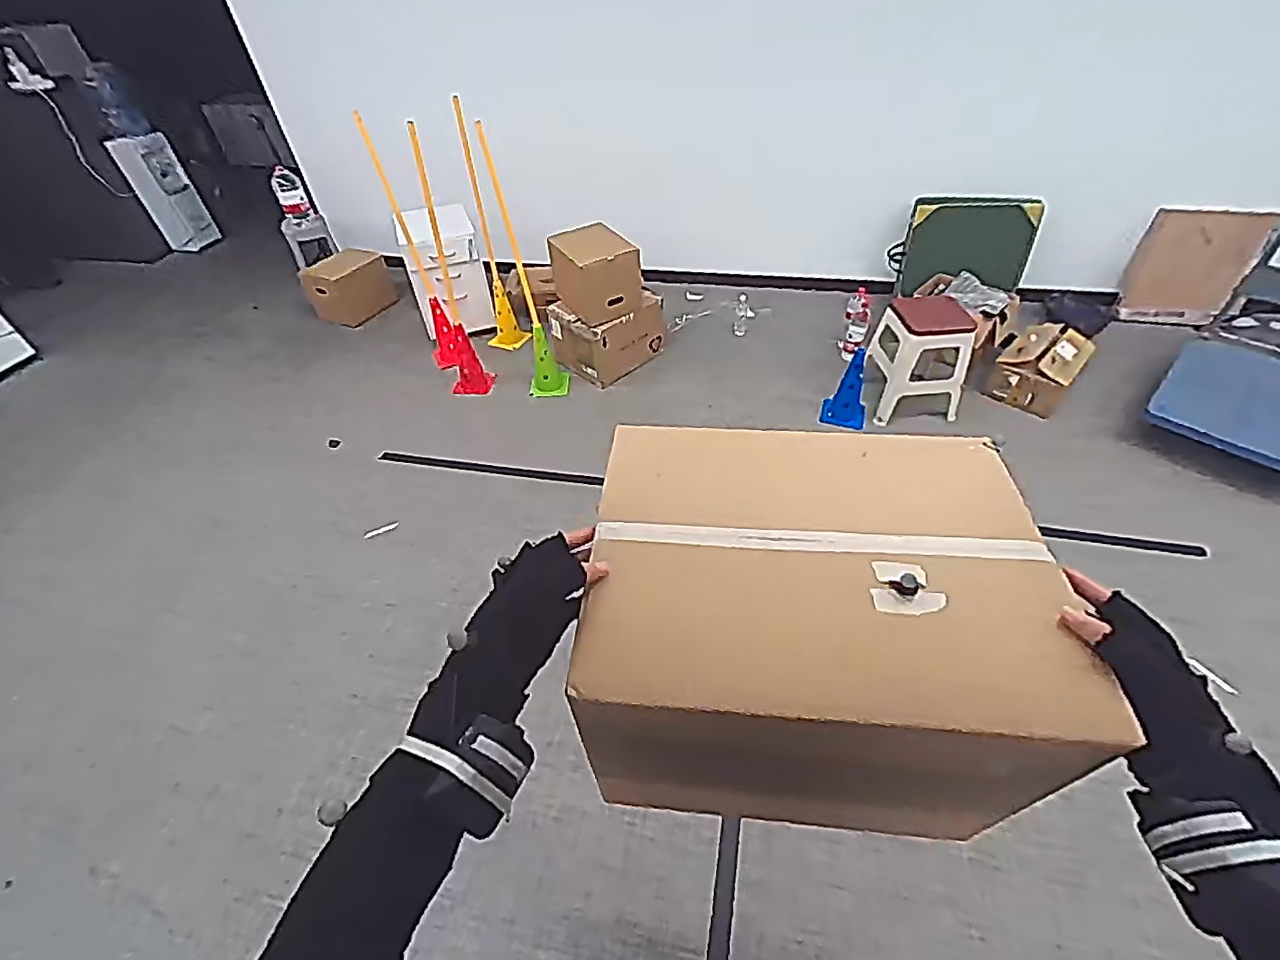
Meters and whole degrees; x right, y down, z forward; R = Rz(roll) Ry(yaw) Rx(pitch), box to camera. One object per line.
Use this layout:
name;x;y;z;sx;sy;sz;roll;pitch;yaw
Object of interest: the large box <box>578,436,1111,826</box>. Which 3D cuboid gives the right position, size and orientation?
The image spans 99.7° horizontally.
large box;0.162;0.168;0.615;0.408;0.320;0.320;3;47;5
